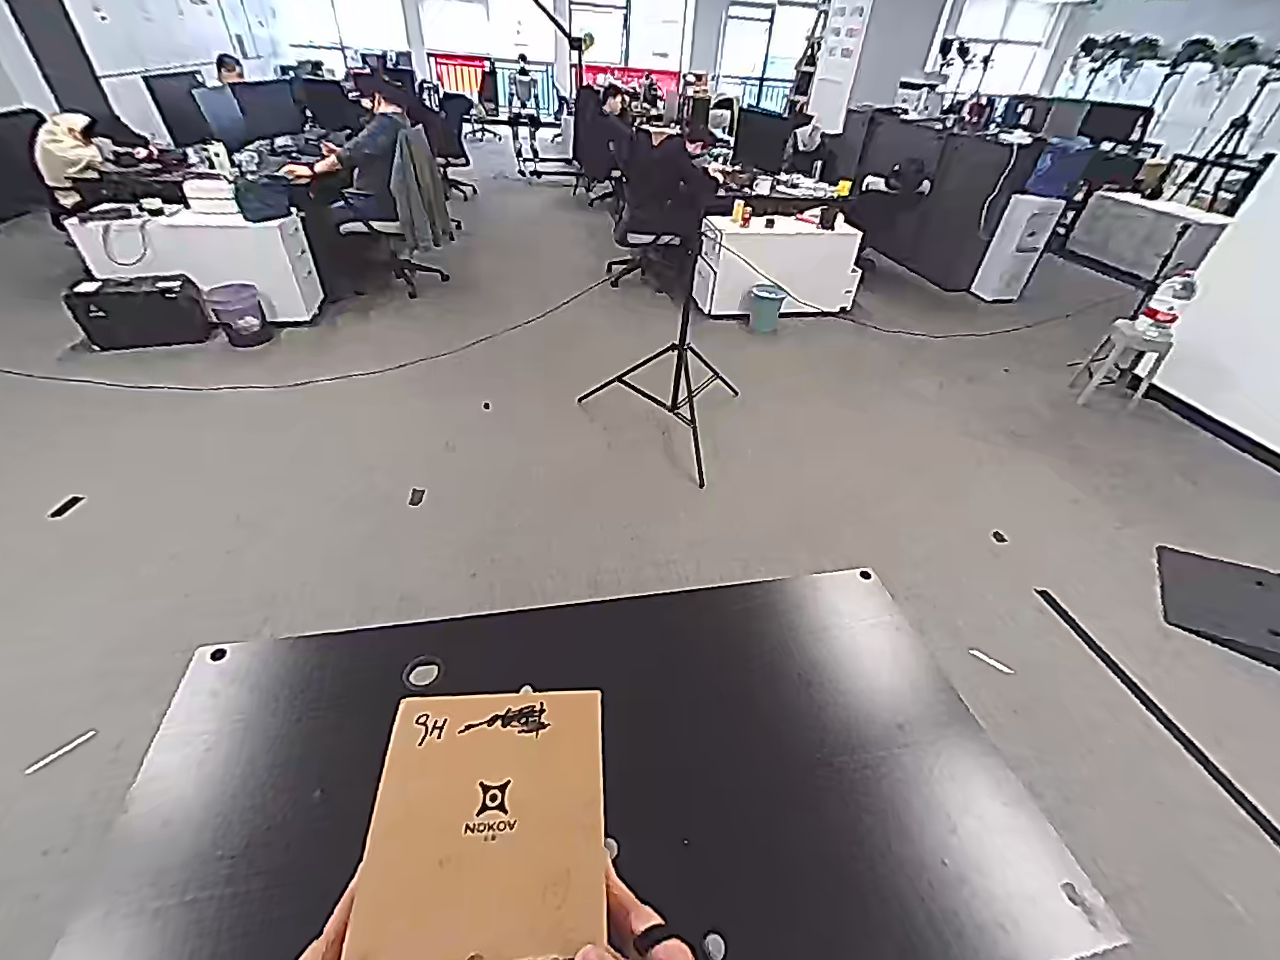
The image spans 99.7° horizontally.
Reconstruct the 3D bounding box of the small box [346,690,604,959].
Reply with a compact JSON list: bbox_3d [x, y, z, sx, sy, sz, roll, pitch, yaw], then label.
[{"bbox_3d":[-0.114,0.298,0.456,0.168,0.176,0.179,0,46,-6],"label":"small box"}]
